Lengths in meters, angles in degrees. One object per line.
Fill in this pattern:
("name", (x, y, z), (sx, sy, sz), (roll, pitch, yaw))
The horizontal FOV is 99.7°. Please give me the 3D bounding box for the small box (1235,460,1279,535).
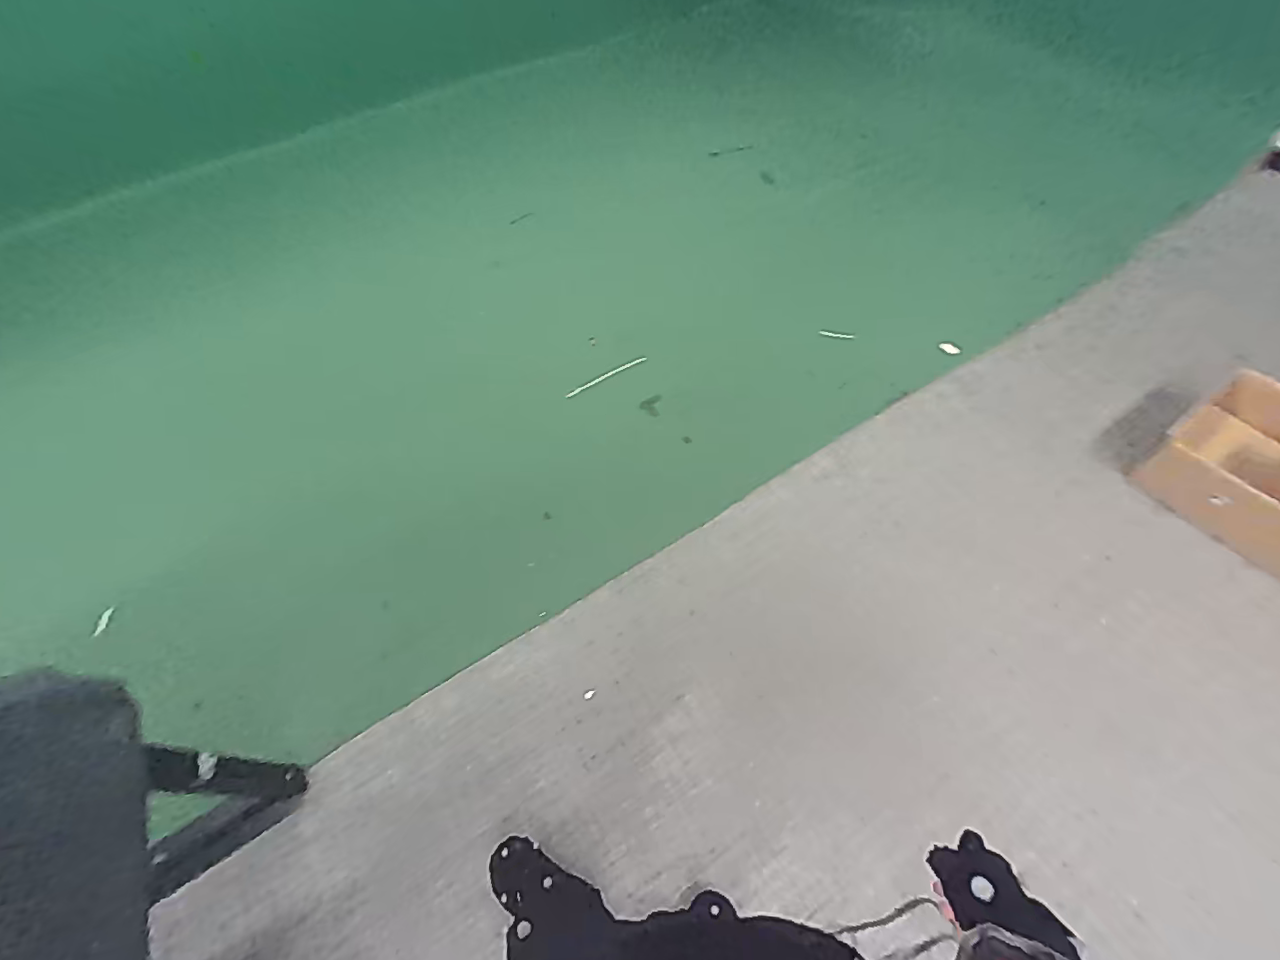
("small box", (1.674, 0.034, 1.353), (0.179, 0.176, 0.168), (-33, 62, -18))
